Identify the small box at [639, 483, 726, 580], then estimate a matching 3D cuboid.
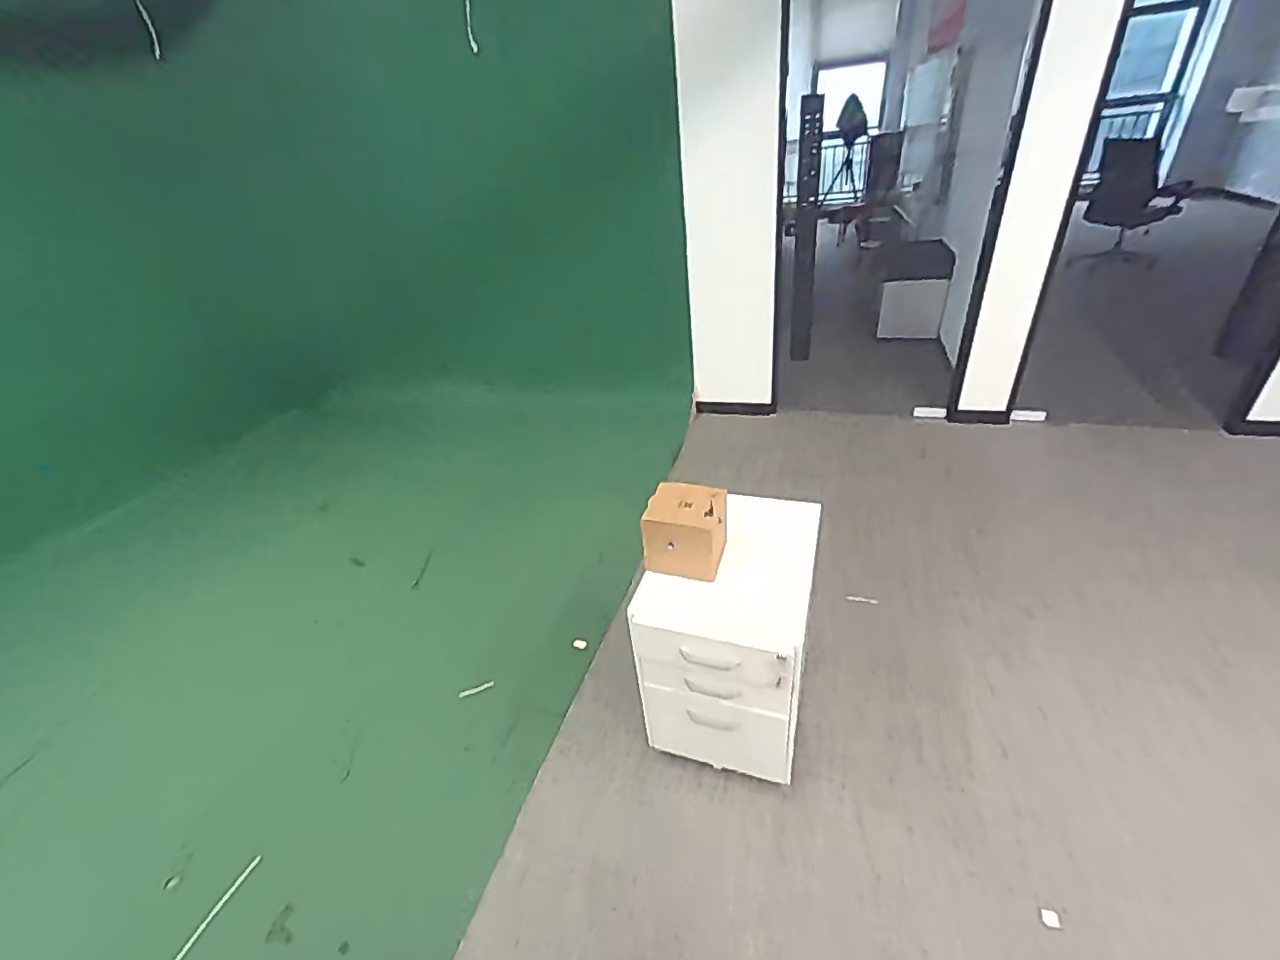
[{"bbox_3d":[0.113,0.127,1.343,0.179,0.176,0.168,7,36,19],"label":"small box"}]
